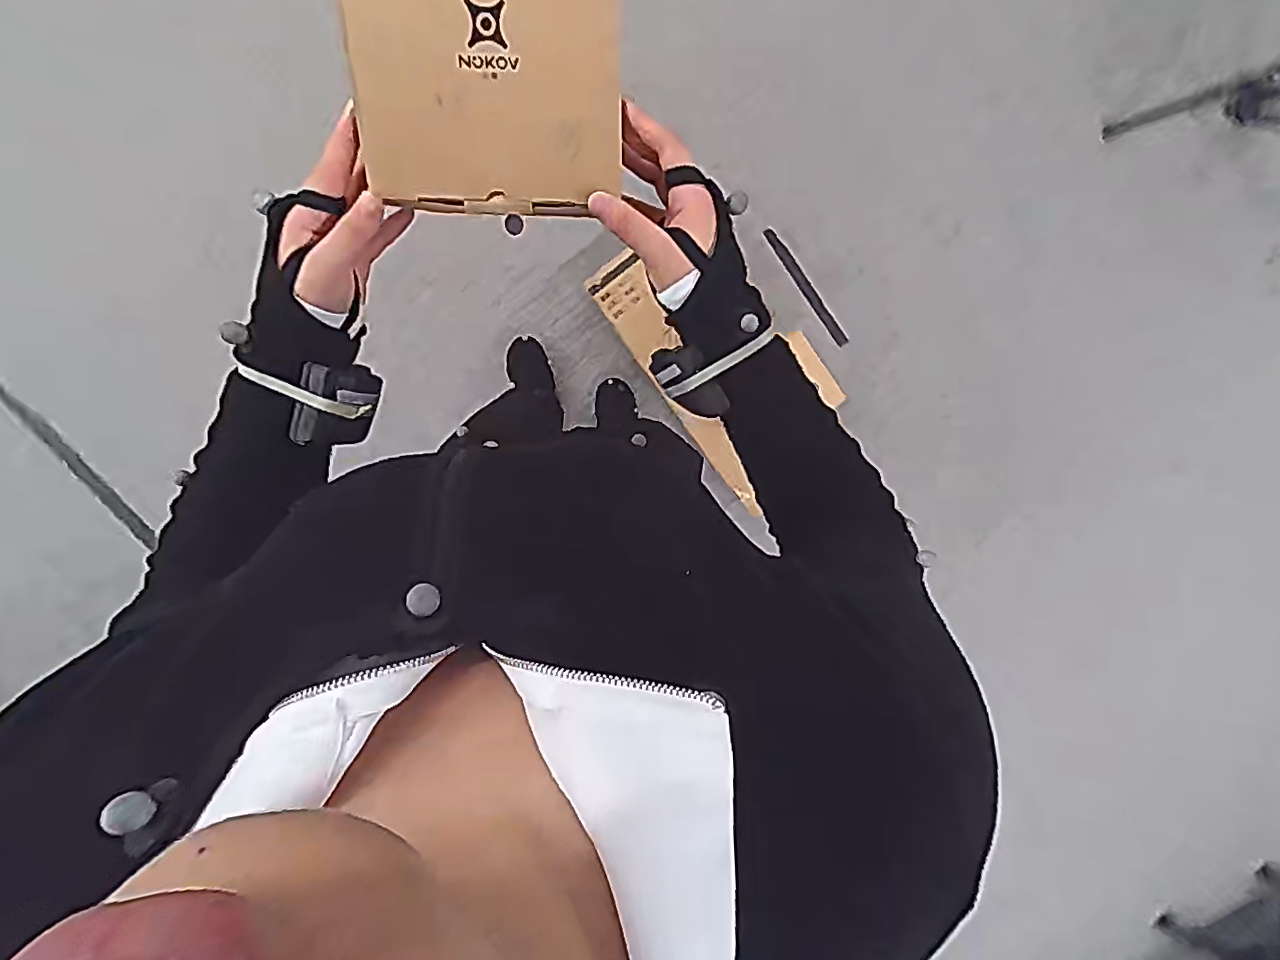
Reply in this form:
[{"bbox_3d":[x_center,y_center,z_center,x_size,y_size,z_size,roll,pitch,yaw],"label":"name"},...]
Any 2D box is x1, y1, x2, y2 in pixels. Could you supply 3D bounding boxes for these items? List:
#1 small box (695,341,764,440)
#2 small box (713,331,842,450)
[{"bbox_3d":[0.250,-0.217,1.279,0.179,0.176,0.168,-32,101,5],"label":"small box"},{"bbox_3d":[0.273,-0.187,1.117,0.179,0.176,0.168,-36,101,5],"label":"small box"}]
